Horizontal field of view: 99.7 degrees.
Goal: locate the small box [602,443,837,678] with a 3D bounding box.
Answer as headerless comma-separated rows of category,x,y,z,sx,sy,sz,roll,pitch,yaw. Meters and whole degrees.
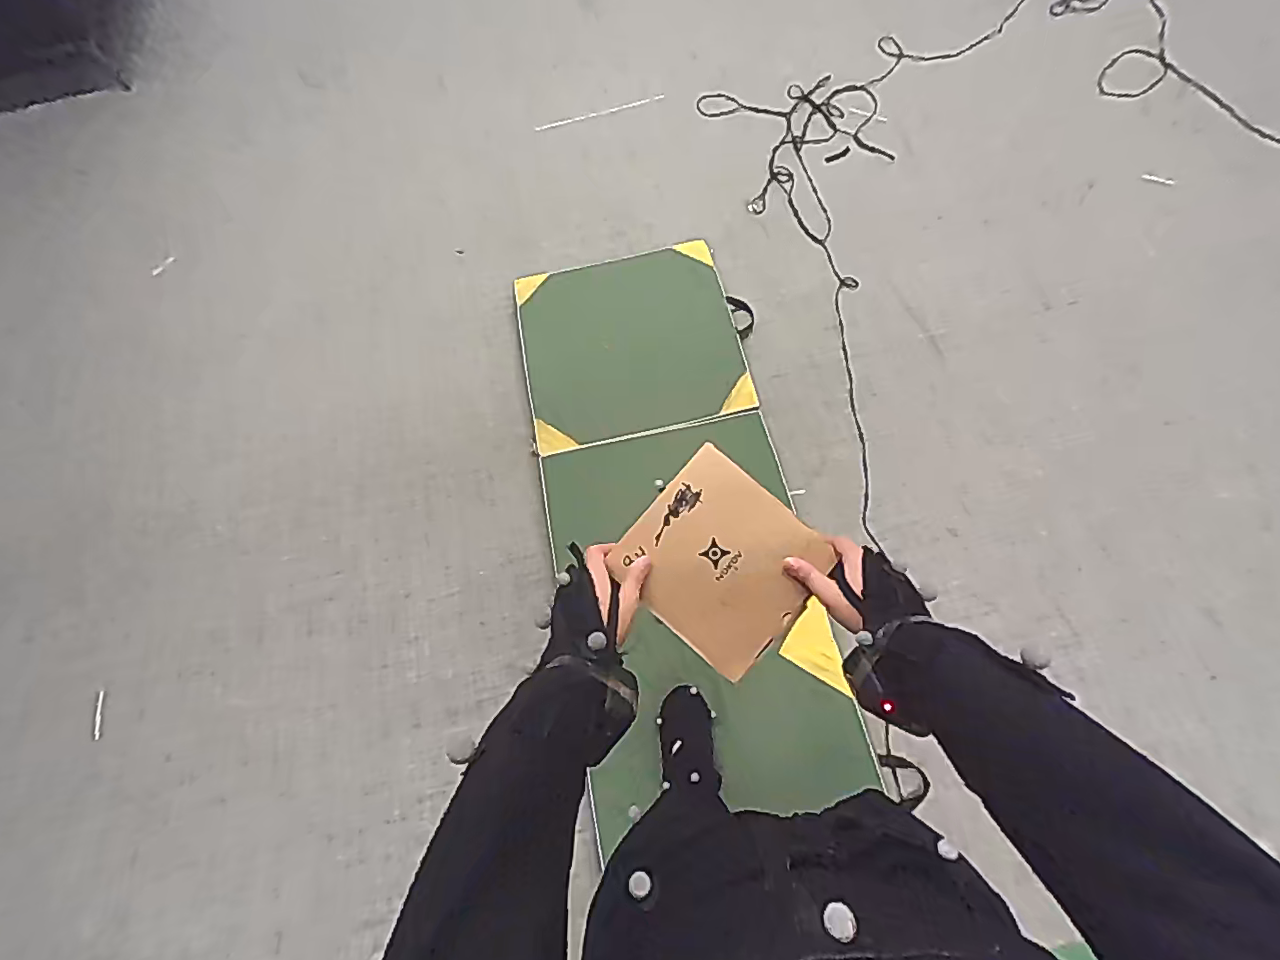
small box,0.081,0.086,0.612,0.179,0.176,0.168,41,85,7
